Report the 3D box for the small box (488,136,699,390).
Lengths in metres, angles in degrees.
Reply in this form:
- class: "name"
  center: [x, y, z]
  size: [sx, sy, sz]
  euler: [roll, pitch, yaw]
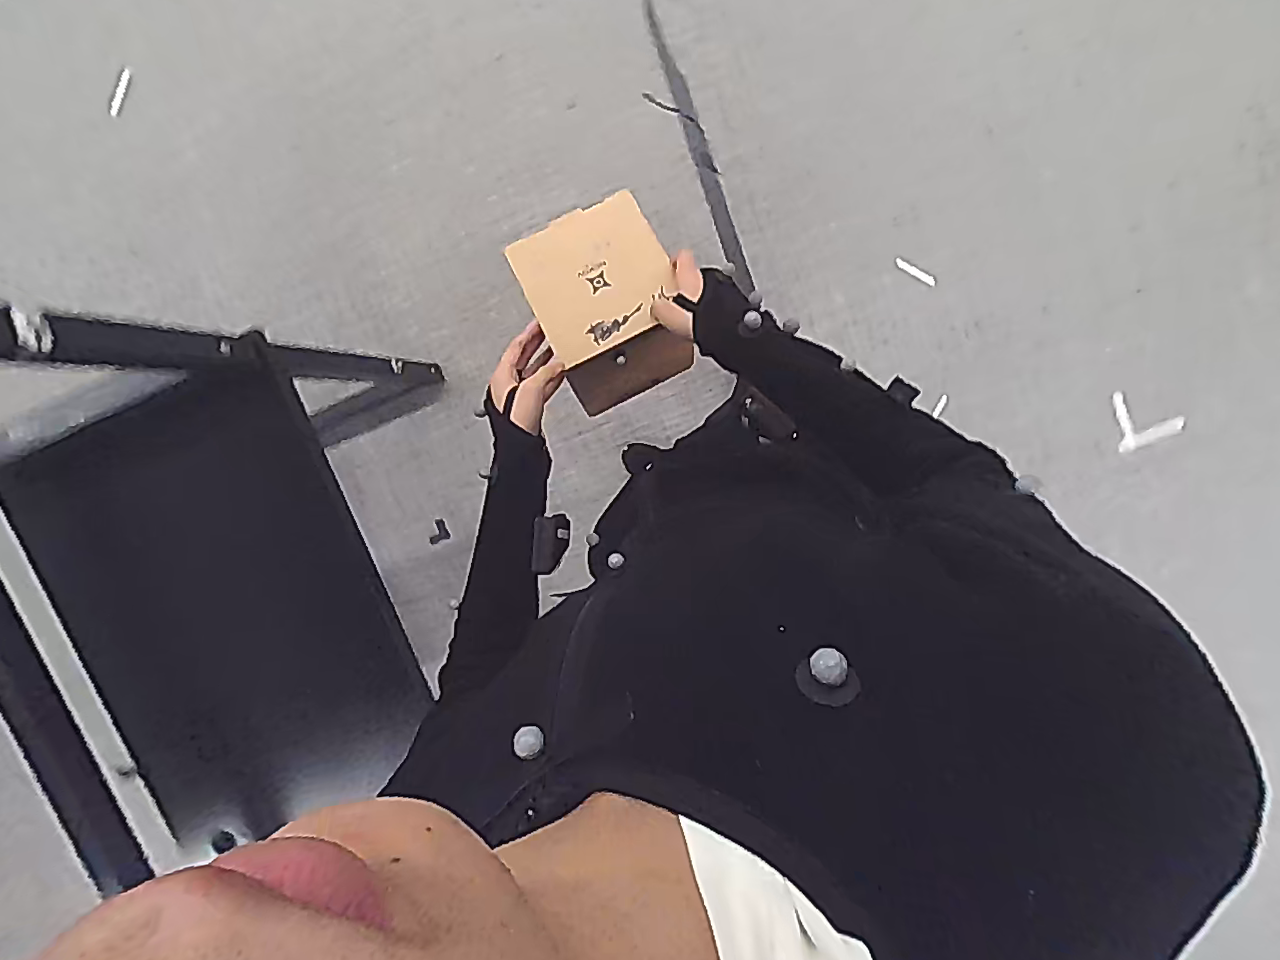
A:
- class: "small box"
  center: [-0.044, -0.233, 0.620]
  size: [0.168, 0.176, 0.179]
  euler: [-26, 78, 0]
